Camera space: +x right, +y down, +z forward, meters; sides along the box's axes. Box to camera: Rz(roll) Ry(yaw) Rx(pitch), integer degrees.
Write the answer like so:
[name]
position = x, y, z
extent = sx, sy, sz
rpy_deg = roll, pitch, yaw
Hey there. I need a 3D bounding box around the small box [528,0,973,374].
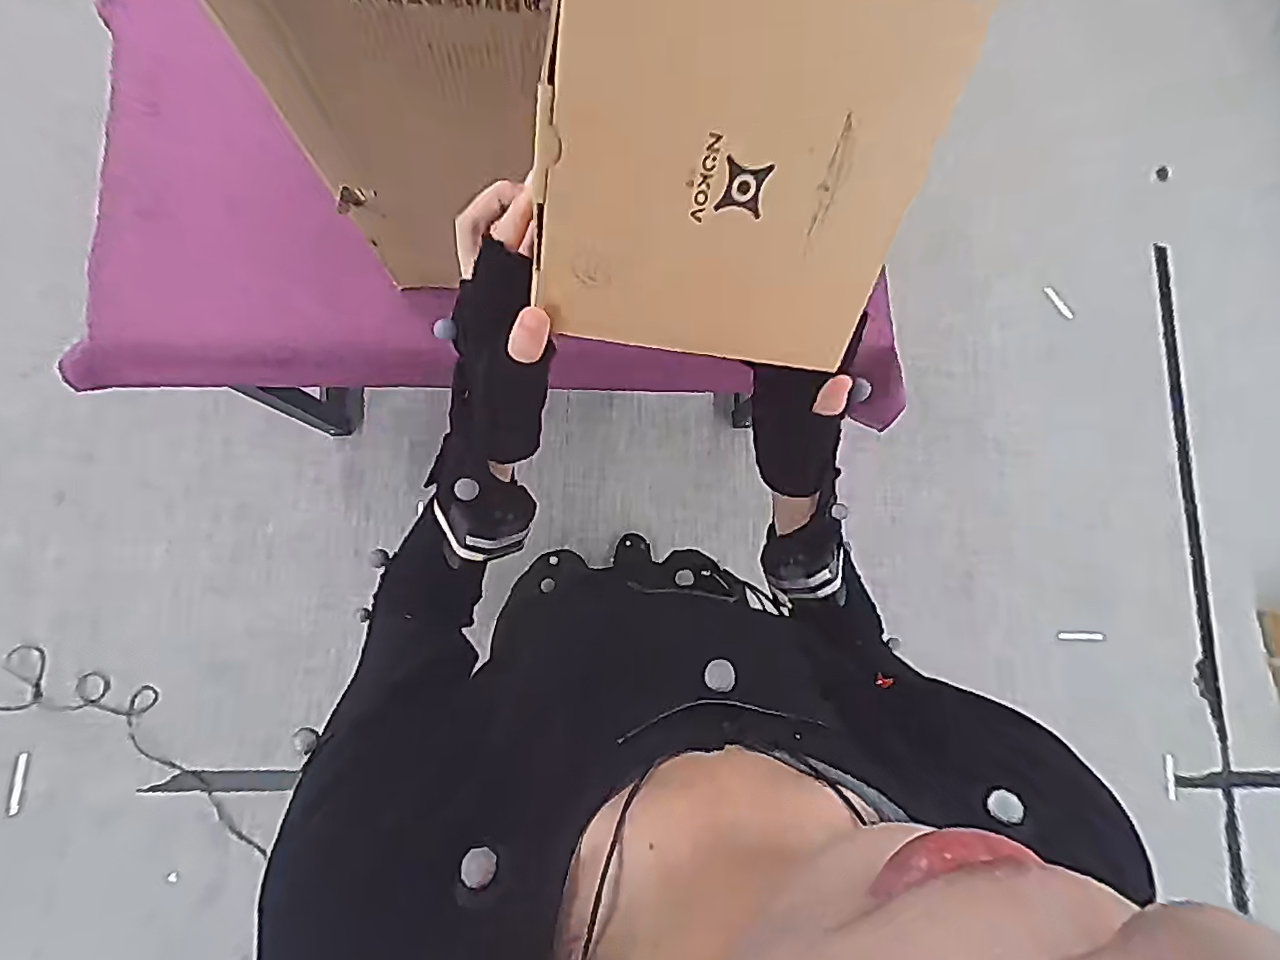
[small box]
position = 0.032, -0.182, 0.318
extent = 0.179, 0.176, 0.168
rpy_deg = 5, 126, -12
